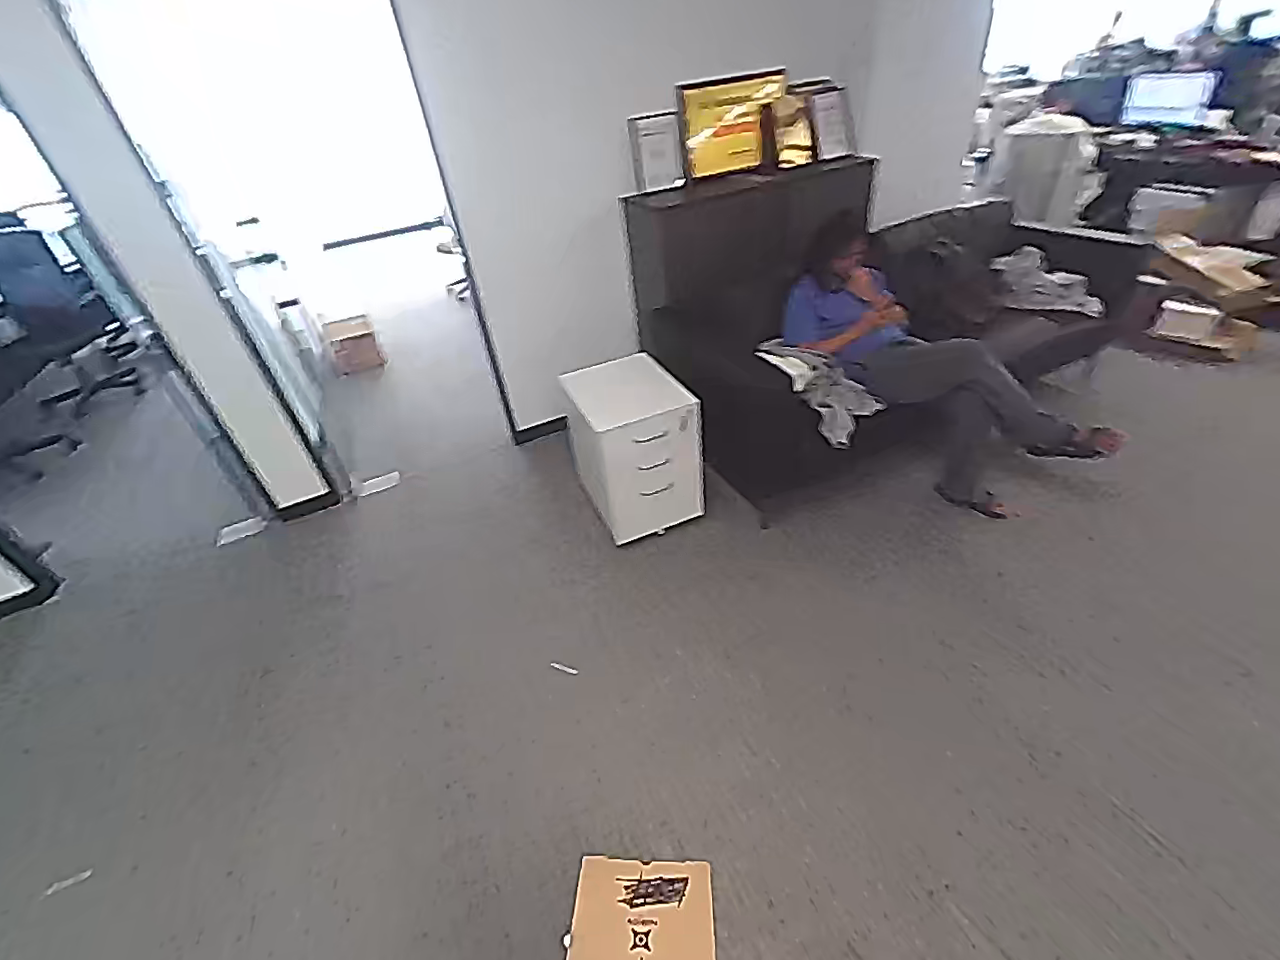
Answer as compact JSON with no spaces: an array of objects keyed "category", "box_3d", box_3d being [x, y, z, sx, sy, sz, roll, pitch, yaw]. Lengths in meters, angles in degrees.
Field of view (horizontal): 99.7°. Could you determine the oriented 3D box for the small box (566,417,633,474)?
[{"category":"small box","box_3d":[-0.157,-0.131,2.132,0.179,0.176,0.168,-26,-7,21]}]
